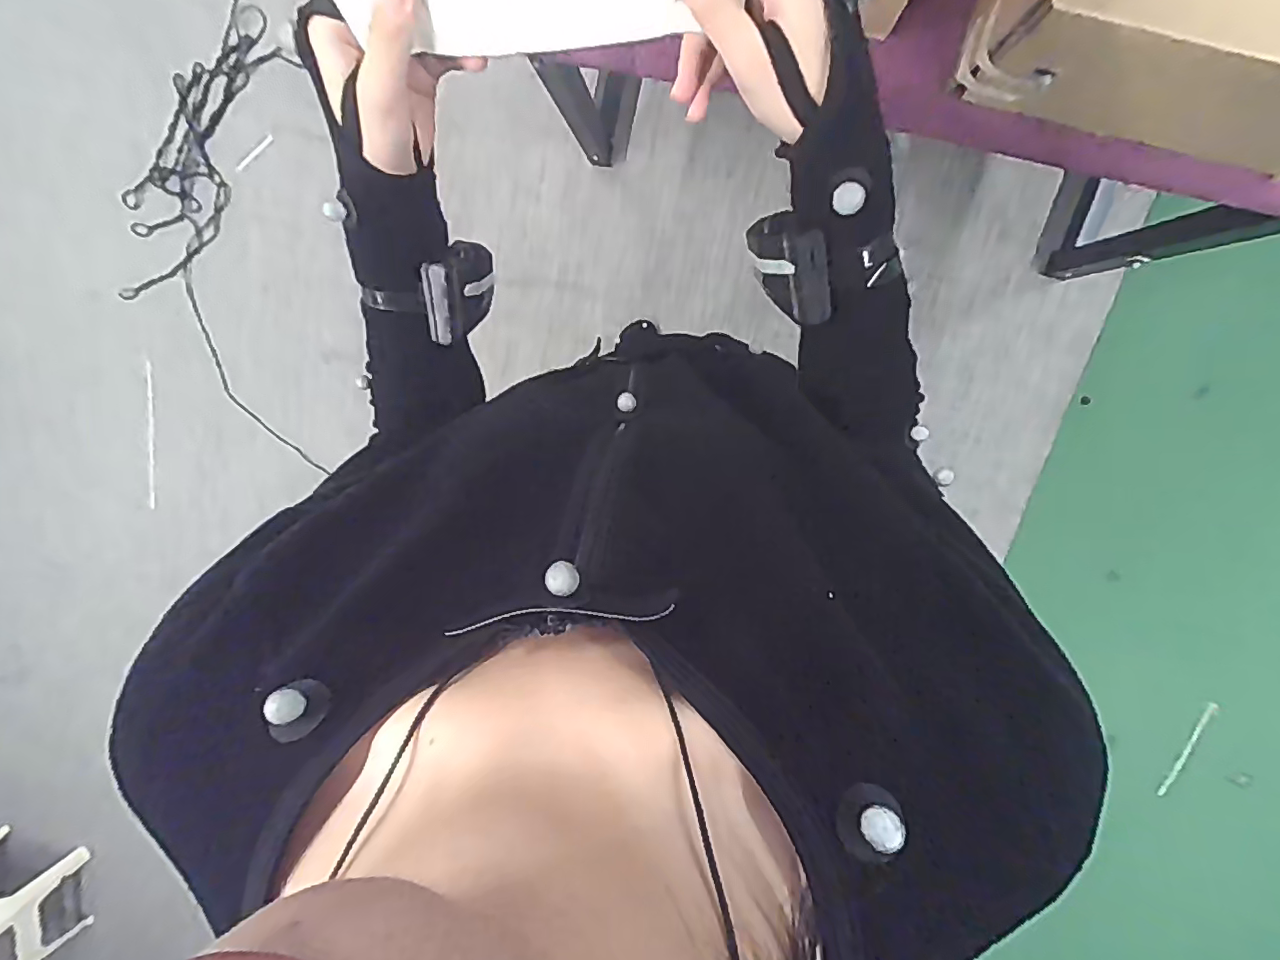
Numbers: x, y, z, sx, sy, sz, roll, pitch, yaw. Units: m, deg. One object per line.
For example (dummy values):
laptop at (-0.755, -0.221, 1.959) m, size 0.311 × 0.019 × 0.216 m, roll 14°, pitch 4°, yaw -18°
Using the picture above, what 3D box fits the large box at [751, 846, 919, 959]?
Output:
large box at (0.542, 1.343, 1.592) m, size 0.408 × 0.320 × 0.320 m, roll 0°, pitch 103°, yaw 6°
